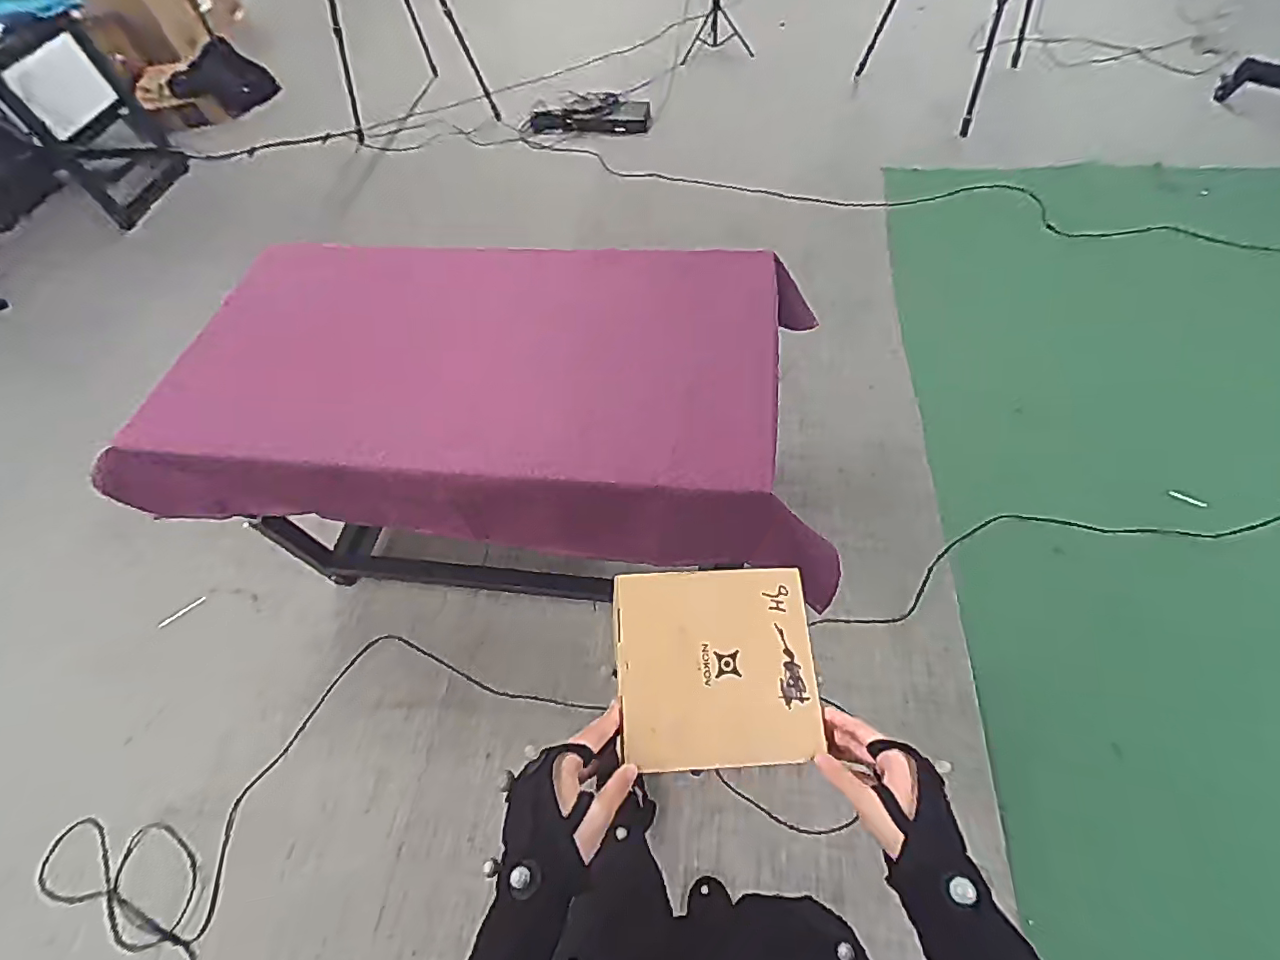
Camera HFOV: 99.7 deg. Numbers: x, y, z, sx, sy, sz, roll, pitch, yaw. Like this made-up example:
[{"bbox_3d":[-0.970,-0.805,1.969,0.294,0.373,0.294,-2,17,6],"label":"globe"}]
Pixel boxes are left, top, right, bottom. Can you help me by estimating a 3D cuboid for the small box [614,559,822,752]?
[{"bbox_3d":[0.063,0.182,0.556,0.179,0.176,0.168,-1,68,-3],"label":"small box"}]
